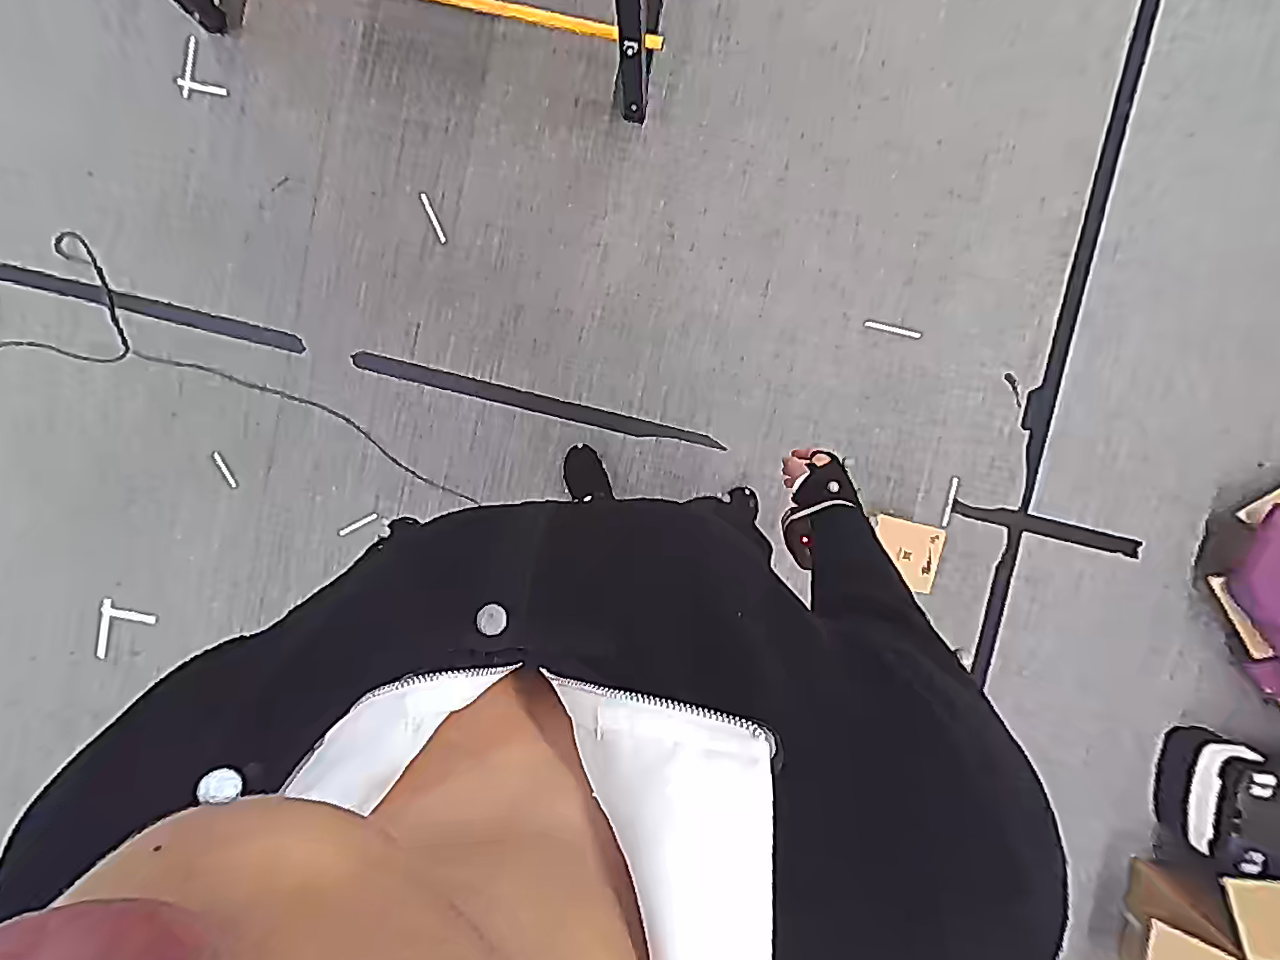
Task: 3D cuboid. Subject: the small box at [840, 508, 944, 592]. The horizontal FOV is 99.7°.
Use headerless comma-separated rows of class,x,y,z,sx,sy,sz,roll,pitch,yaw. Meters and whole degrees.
small box,0.645,0.175,1.408,0.179,0.176,0.168,14,94,1
